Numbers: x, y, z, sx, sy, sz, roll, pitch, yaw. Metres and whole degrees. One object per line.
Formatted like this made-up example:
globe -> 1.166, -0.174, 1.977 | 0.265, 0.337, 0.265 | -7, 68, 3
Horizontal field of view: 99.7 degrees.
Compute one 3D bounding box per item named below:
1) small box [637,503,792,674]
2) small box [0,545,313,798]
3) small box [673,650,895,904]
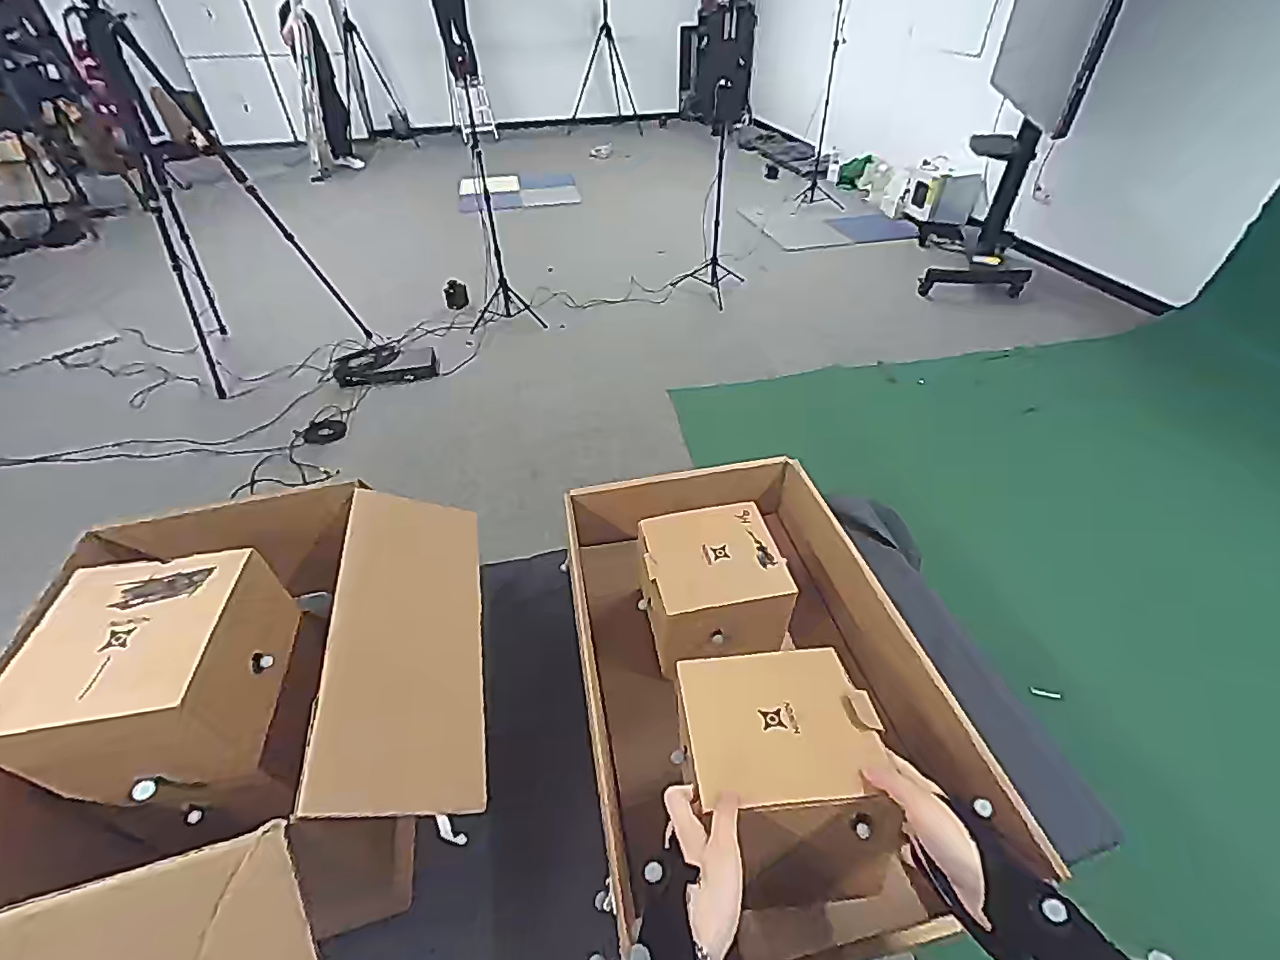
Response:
small box -> 0.098, 0.159, 0.785 | 0.179, 0.176, 0.168 | -9, 45, -7
small box -> -0.465, 0.192, 0.551 | 0.168, 0.176, 0.179 | -7, 45, -7
small box -> 0.132, 0.304, 0.562 | 0.179, 0.176, 0.168 | -4, 28, -3
